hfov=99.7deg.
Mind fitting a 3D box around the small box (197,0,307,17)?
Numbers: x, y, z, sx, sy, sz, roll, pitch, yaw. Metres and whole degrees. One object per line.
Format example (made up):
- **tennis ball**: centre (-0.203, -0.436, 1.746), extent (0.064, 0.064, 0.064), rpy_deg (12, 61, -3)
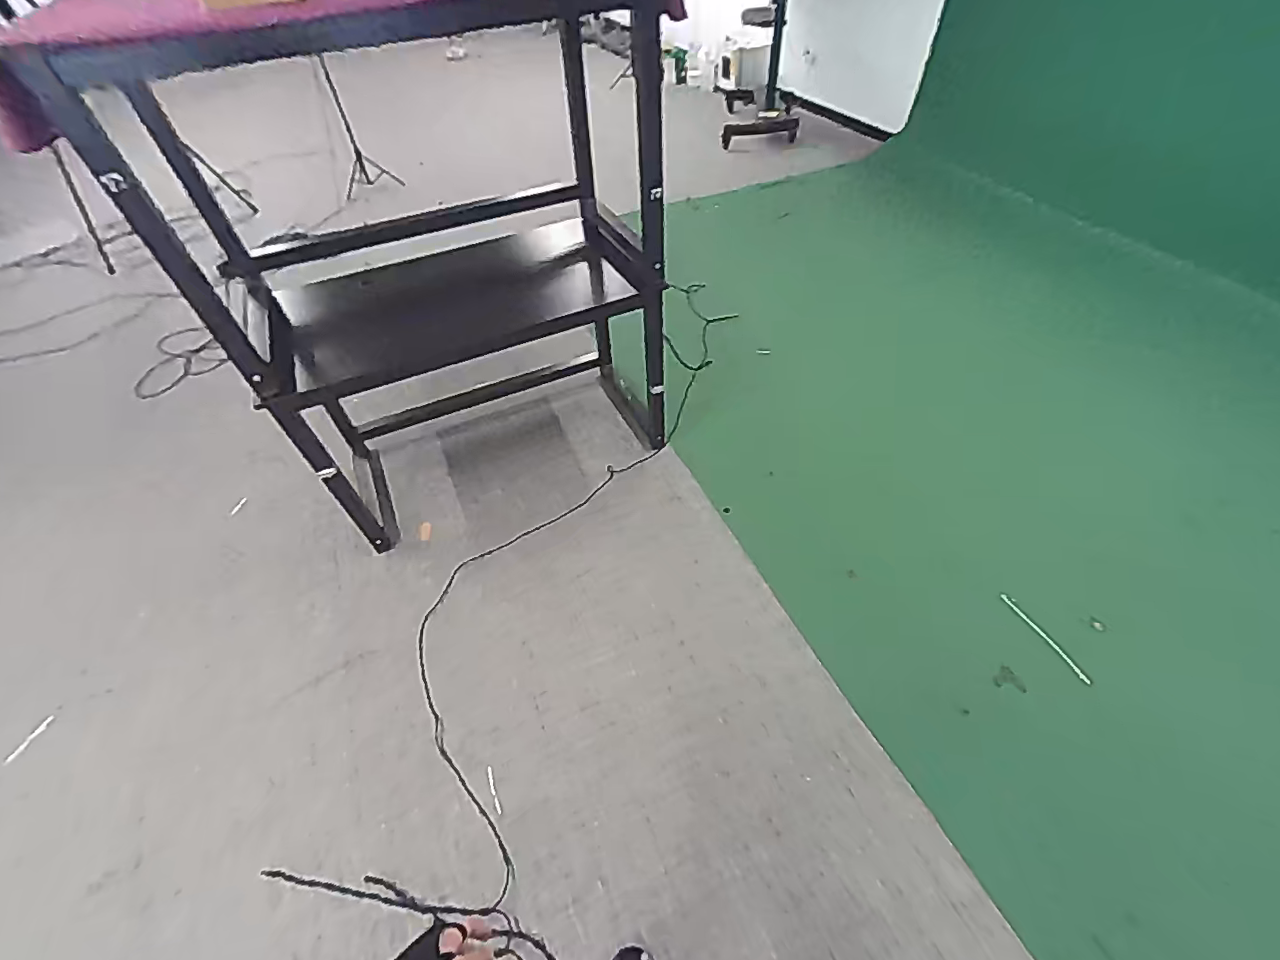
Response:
- **small box**: centre (-0.732, -0.949, 0.962), extent (0.179, 0.176, 0.168), rpy_deg (-24, 51, -17)
